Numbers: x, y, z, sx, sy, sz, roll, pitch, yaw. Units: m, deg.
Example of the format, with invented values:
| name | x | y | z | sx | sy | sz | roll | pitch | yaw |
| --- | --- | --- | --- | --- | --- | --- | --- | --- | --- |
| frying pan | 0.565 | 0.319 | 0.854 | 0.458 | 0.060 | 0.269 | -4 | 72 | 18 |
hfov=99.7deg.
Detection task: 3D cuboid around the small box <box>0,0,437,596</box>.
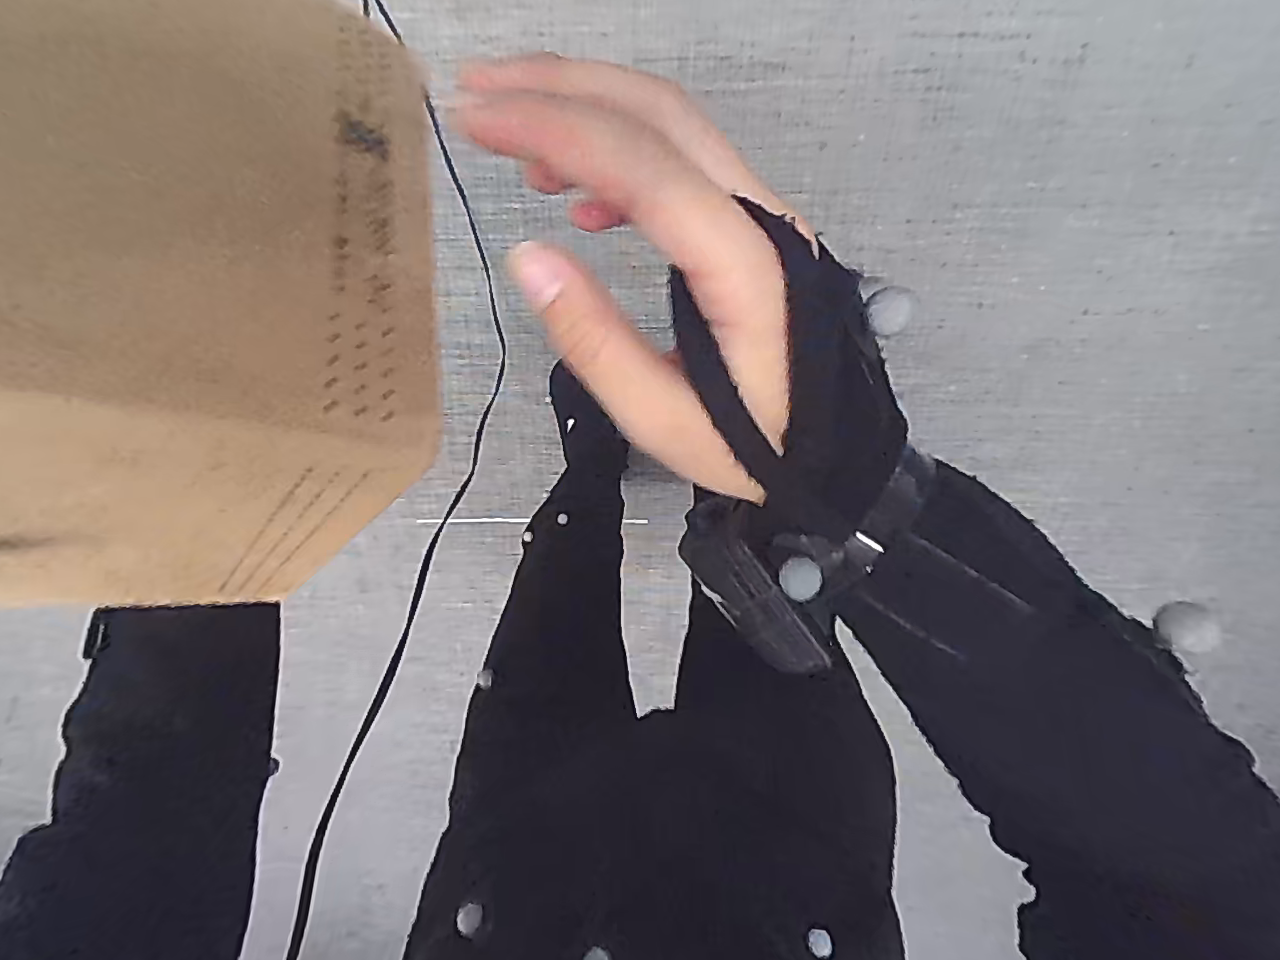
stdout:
| name | x | y | z | sx | sy | sz | roll | pitch | yaw |
| --- | --- | --- | --- | --- | --- | --- | --- | --- | --- |
| small box | -0.185 | -0.056 | 0.187 | 0.176 | 0.168 | 0.179 | 8 | 152 | -42 |
